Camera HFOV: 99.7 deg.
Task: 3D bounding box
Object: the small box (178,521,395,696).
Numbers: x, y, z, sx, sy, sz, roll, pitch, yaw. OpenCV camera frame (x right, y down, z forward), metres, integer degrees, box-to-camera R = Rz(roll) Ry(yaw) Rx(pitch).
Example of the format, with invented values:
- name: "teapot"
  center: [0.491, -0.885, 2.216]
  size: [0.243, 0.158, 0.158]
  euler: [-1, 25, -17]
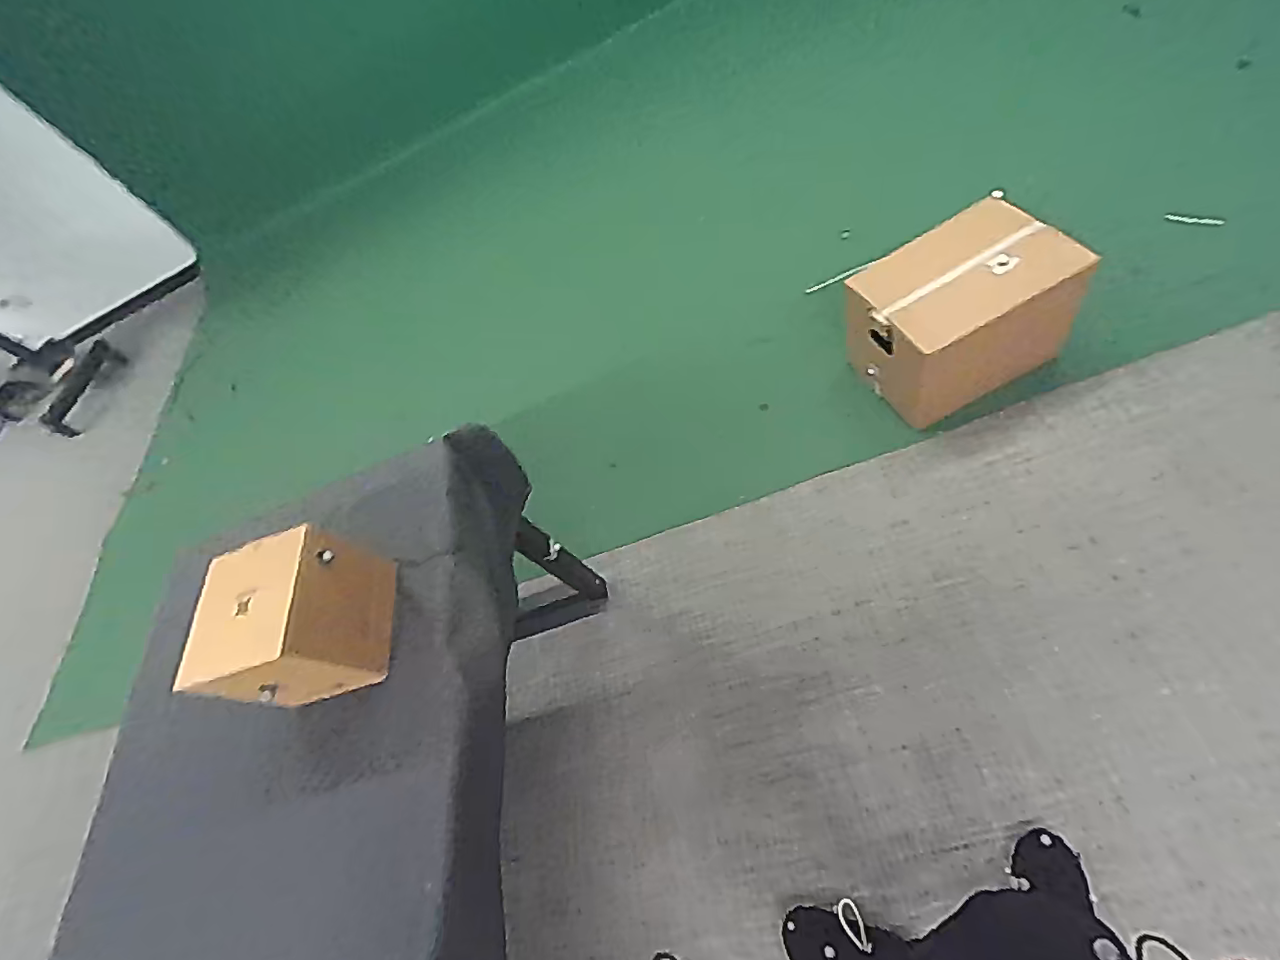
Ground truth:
- name: "small box"
  center: [-0.460, 0.184, 0.733]
  size: [0.168, 0.176, 0.179]
  euler: [-19, 56, 13]
